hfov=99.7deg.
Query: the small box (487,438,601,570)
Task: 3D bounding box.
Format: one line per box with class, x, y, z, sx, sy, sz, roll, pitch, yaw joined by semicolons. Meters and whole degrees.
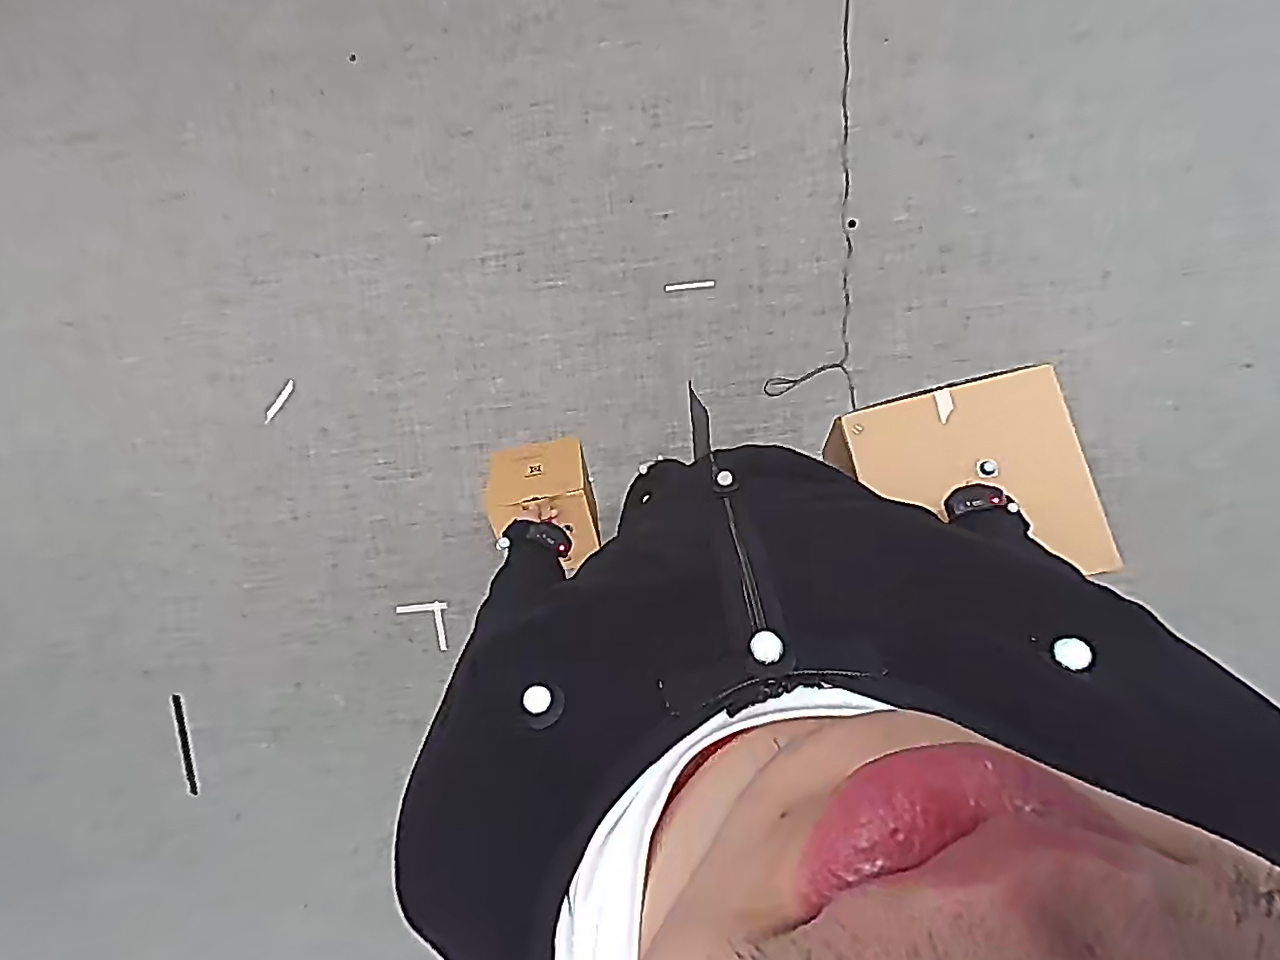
small box;-0.170;0.049;1.000;0.168;0.179;0.176;-11;125;-2
